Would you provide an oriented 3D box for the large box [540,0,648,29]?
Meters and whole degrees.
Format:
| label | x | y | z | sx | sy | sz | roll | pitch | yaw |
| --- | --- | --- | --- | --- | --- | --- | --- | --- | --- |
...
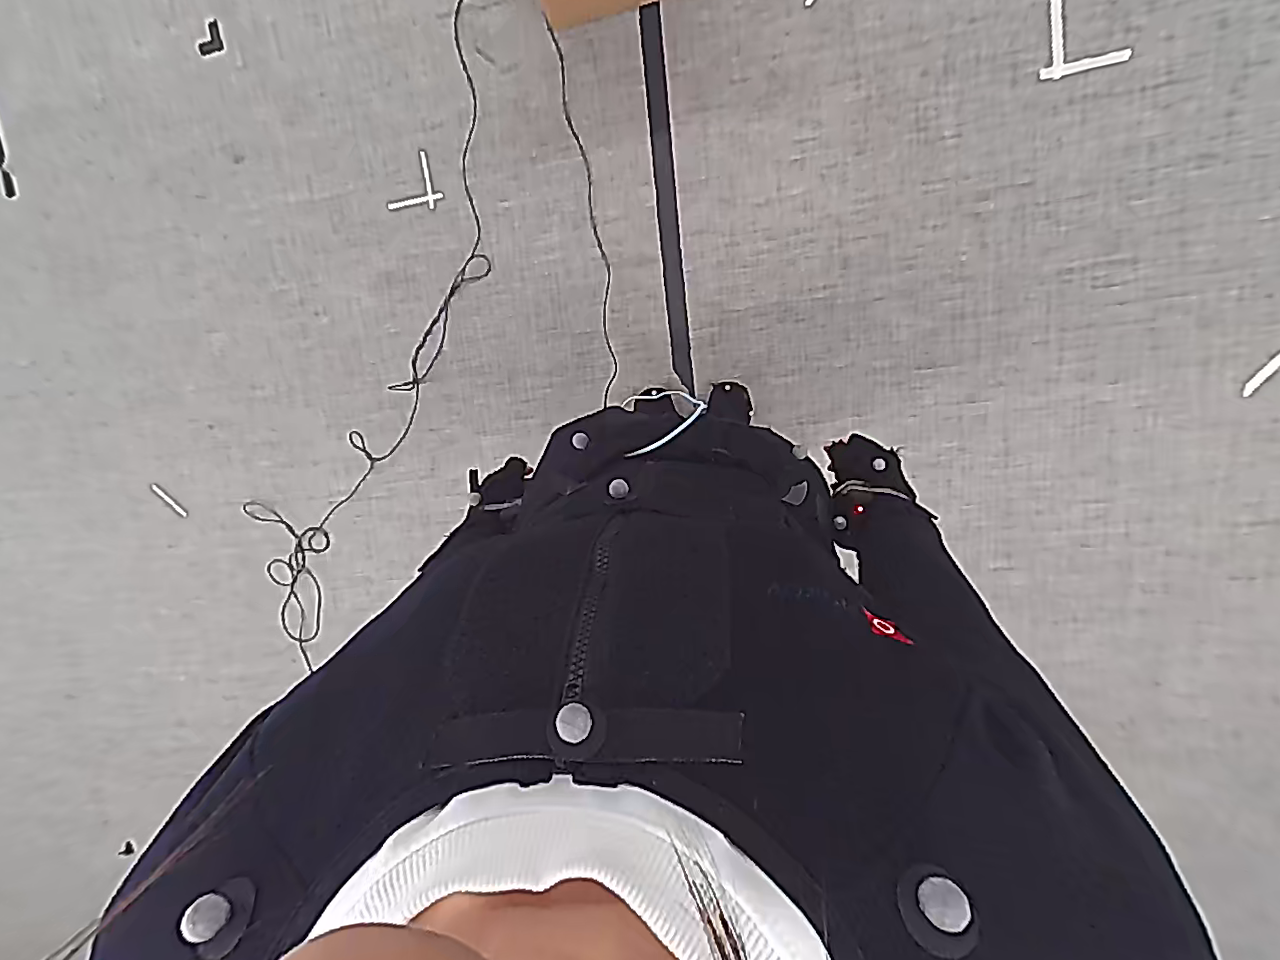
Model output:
| label | x | y | z | sx | sy | sz | roll | pitch | yaw |
| --- | --- | --- | --- | --- | --- | --- | --- | --- | --- |
| large box | -0.064 | -1.216 | 1.082 | 0.408 | 0.320 | 0.320 | -10 | 100 | 8 |
